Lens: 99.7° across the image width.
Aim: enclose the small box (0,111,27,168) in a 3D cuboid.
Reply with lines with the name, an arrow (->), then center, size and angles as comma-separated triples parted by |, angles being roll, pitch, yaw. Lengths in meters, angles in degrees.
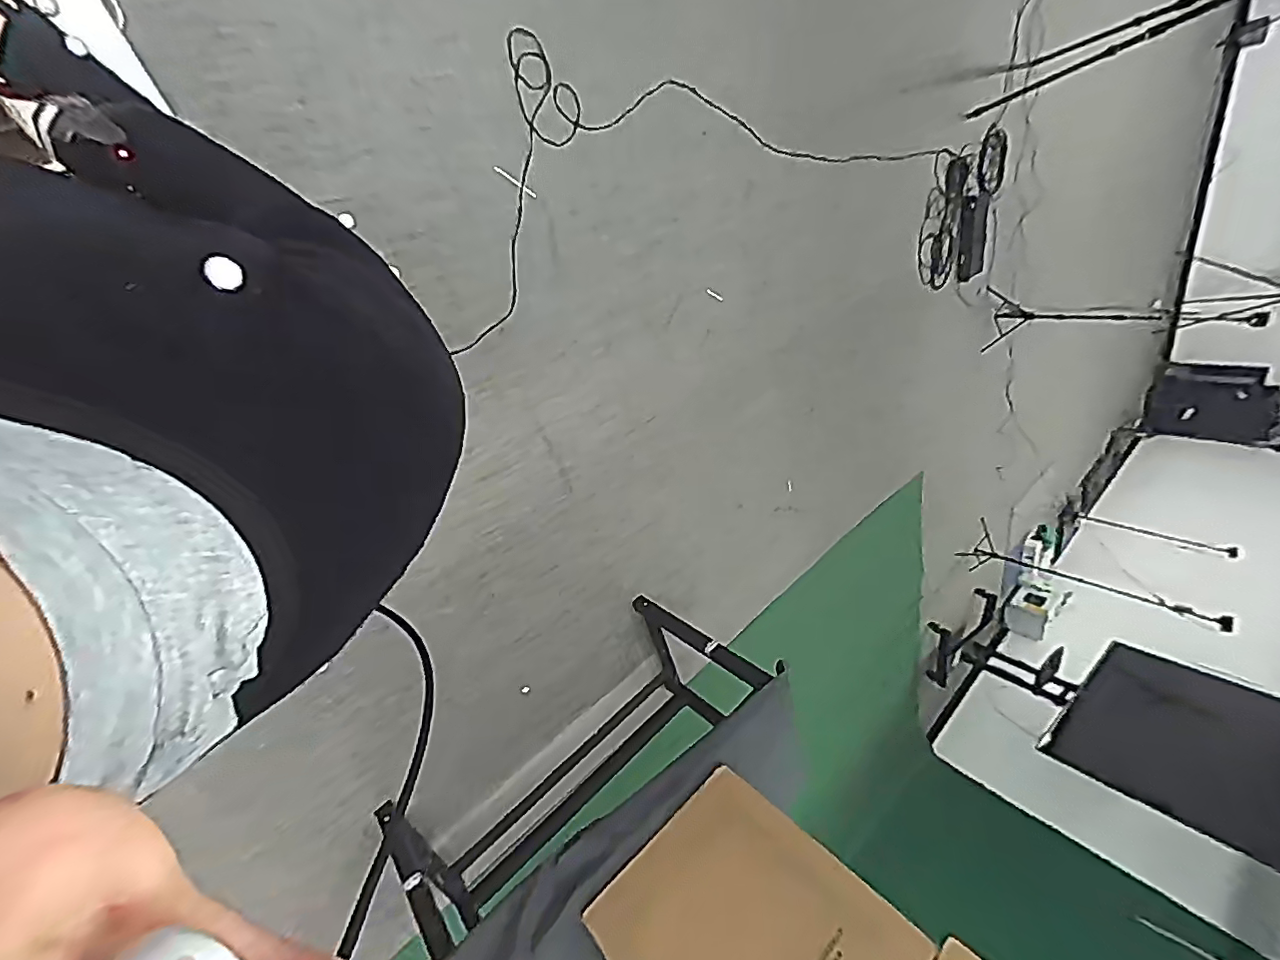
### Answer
small box -> -0.723, -0.377, 0.482 | 0.168, 0.176, 0.179 | -36, 122, -29
